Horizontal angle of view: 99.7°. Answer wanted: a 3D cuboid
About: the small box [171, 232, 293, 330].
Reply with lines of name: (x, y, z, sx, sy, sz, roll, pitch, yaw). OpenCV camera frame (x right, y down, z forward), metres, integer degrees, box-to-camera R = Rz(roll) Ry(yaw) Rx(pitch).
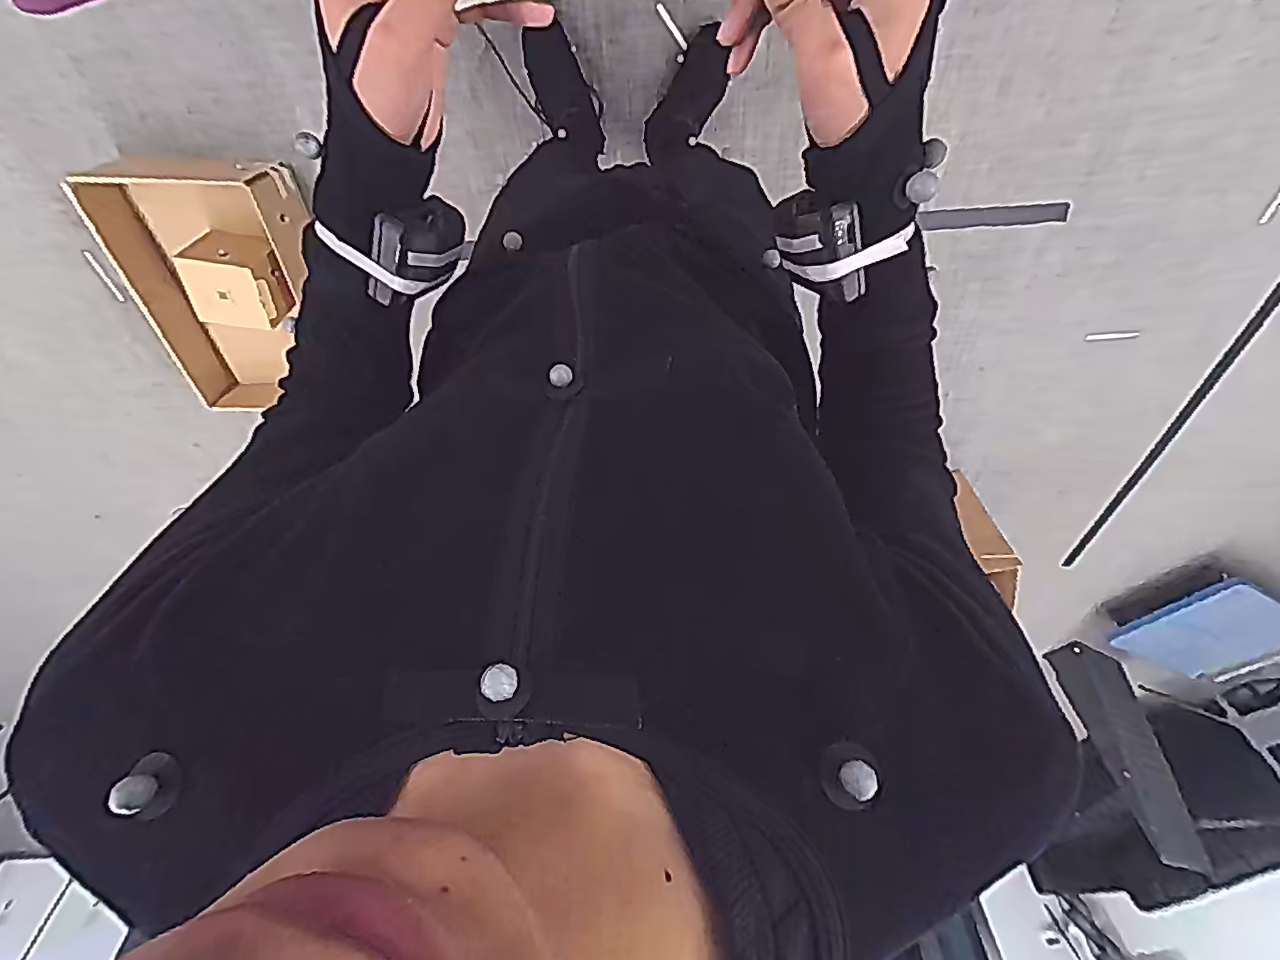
small box: (-1.002, -0.501, 1.355, 0.179, 0.176, 0.168, 6, 134, -8)
